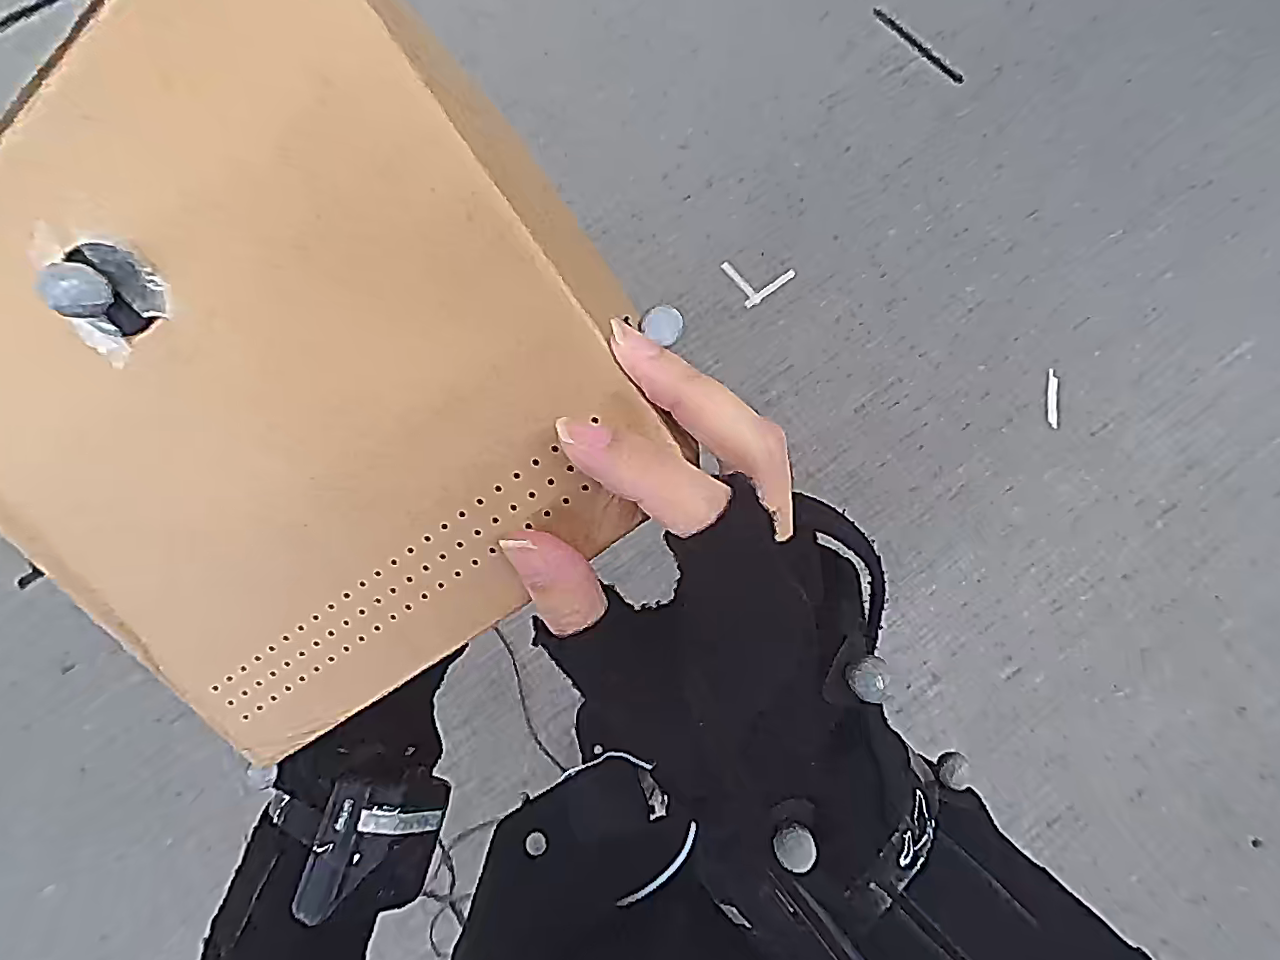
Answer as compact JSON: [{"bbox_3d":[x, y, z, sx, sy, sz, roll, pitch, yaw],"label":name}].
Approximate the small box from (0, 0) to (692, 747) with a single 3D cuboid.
[{"bbox_3d":[-0.096,-0.026,0.235,0.179,0.168,0.176,-34,103,13],"label":"small box"}]
